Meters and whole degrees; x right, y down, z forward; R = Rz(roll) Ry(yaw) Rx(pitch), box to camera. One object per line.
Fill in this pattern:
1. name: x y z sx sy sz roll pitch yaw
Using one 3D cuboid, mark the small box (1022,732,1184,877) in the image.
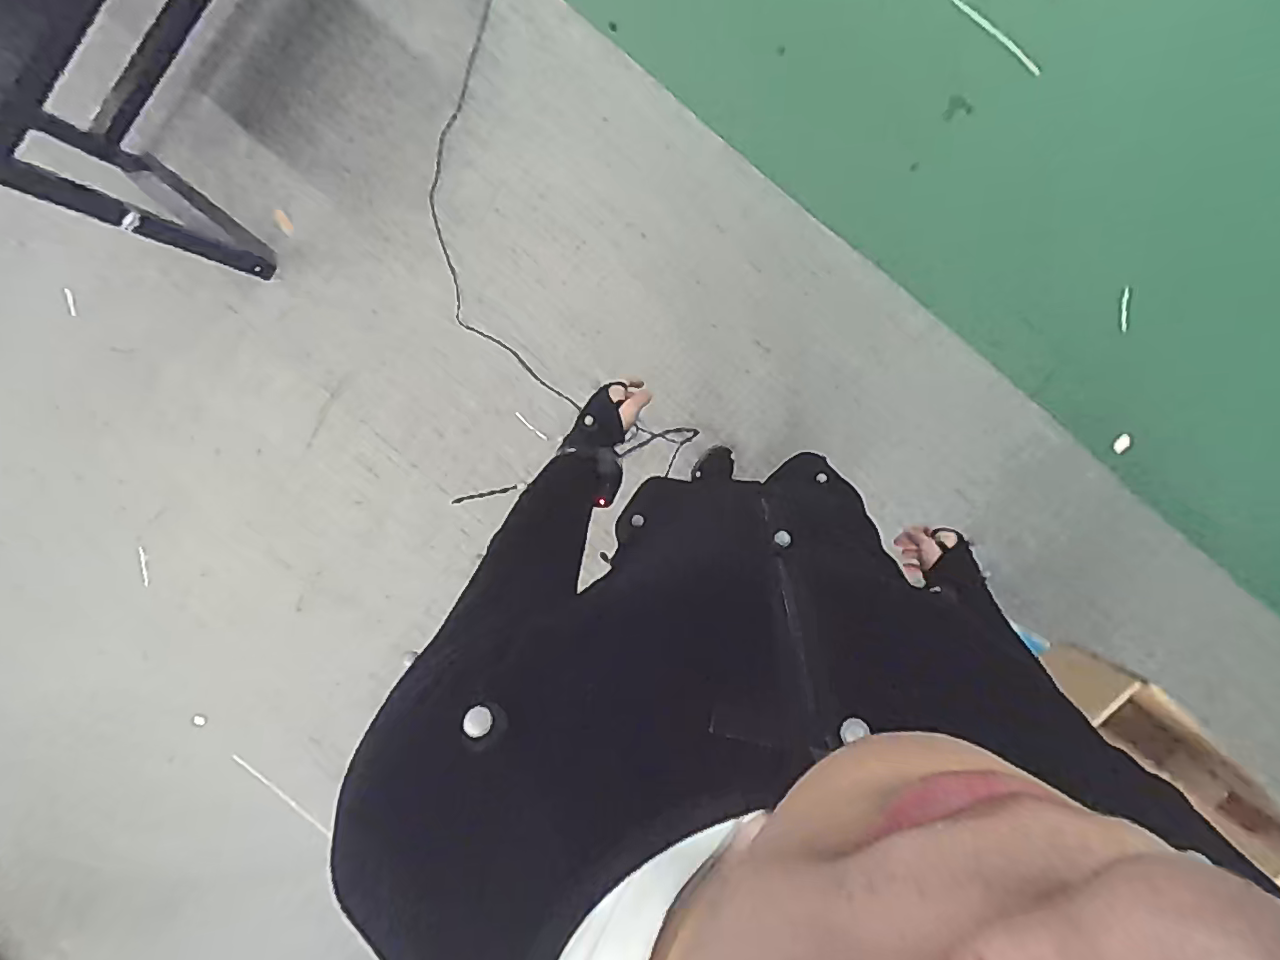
1. small box: 0.787 0.555 0.877 0.179 0.176 0.168 42 96 -1
